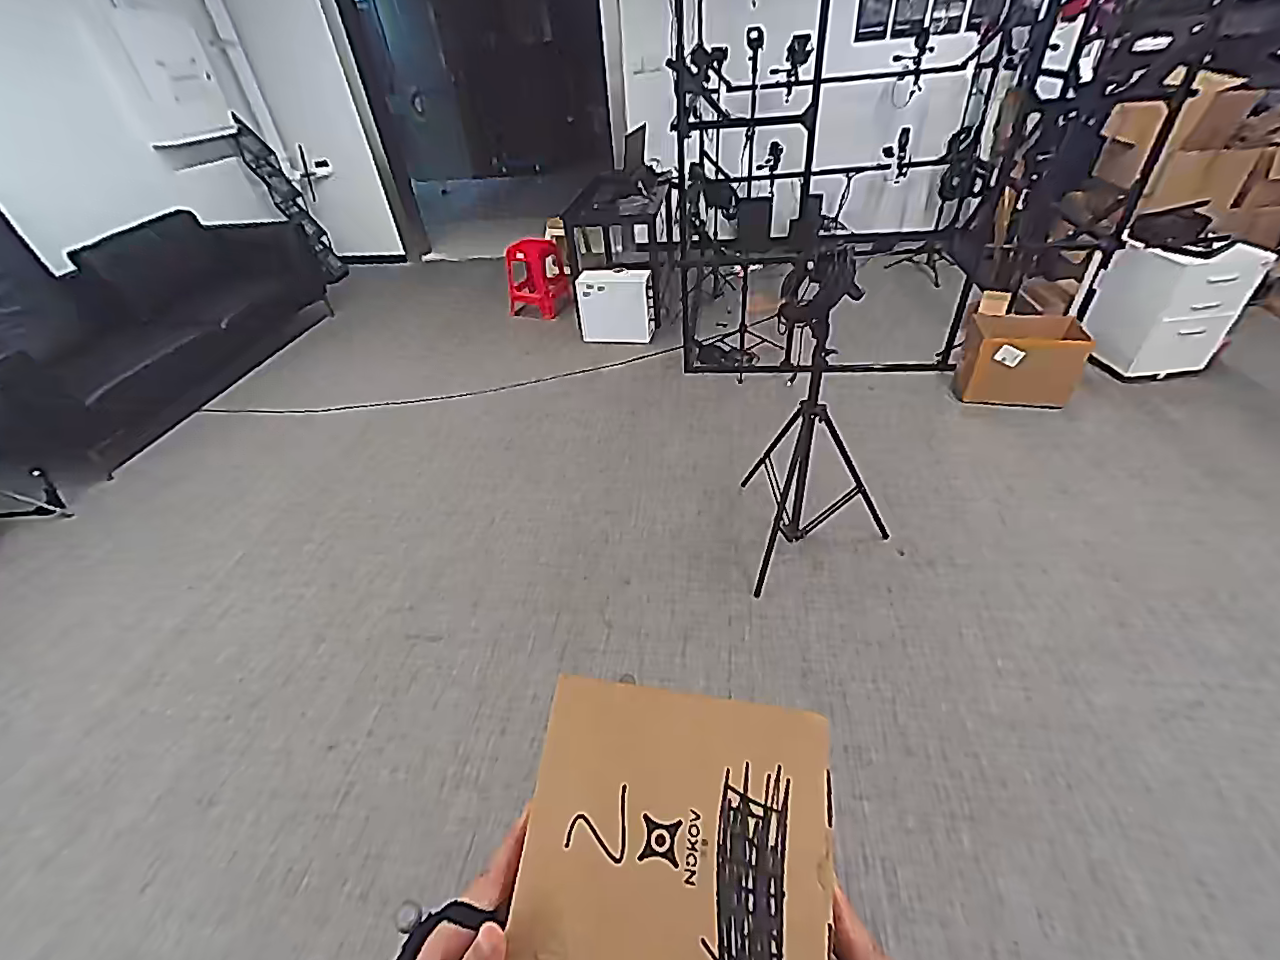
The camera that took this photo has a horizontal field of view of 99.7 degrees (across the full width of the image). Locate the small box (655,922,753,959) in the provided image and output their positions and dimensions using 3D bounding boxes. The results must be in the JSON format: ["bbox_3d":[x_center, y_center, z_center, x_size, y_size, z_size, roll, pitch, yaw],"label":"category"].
[{"bbox_3d":[0.107,0.890,0.919,0.168,0.176,0.179,-1,40,7],"label":"small box"}]
